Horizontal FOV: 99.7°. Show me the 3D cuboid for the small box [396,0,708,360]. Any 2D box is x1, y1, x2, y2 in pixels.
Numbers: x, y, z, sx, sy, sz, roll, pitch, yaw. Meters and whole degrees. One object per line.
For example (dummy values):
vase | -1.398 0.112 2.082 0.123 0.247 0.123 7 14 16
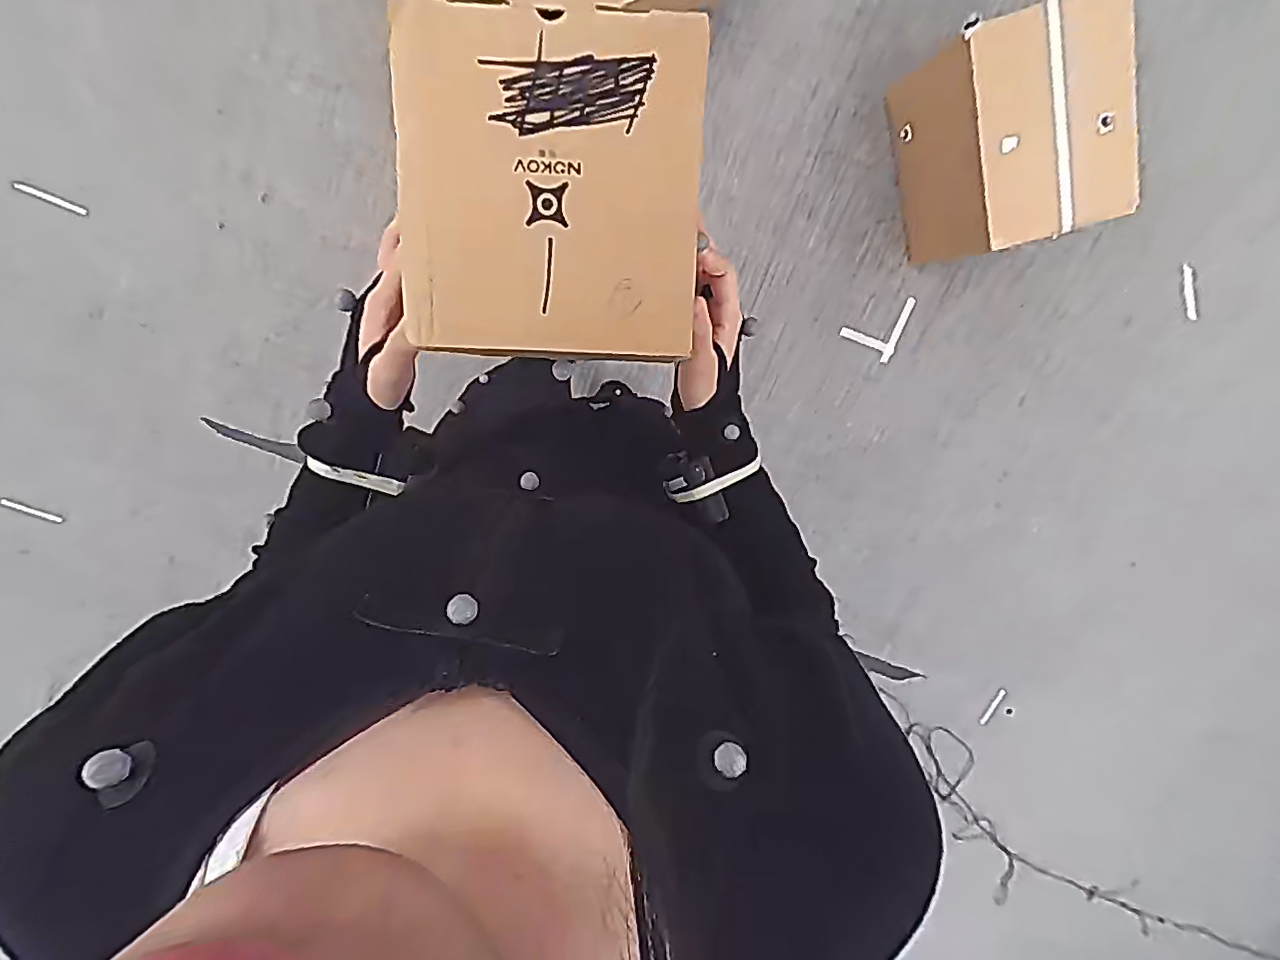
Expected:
small box | -0.051 -0.178 0.375 0.168 0.176 0.179 2 102 -1
